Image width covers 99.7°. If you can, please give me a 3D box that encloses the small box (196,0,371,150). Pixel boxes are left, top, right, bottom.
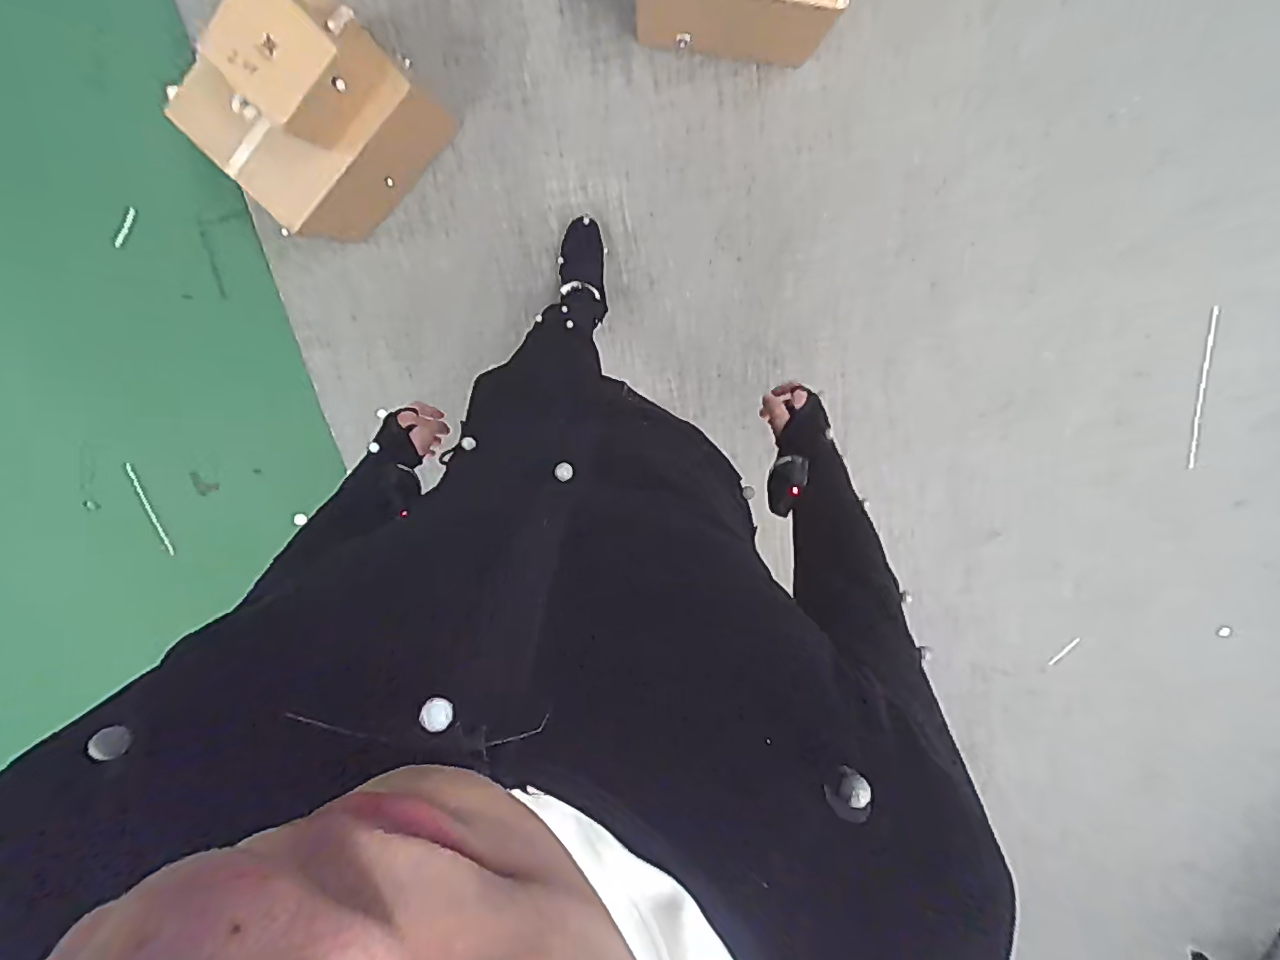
[{"bbox_3d":[-0.618,-0.736,0.967,0.179,0.176,0.168,-41,105,13],"label":"small box"}]

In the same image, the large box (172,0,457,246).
[{"bbox_3d":[-0.692,-0.795,1.209,0.408,0.320,0.320,-41,103,14],"label":"large box"}]
